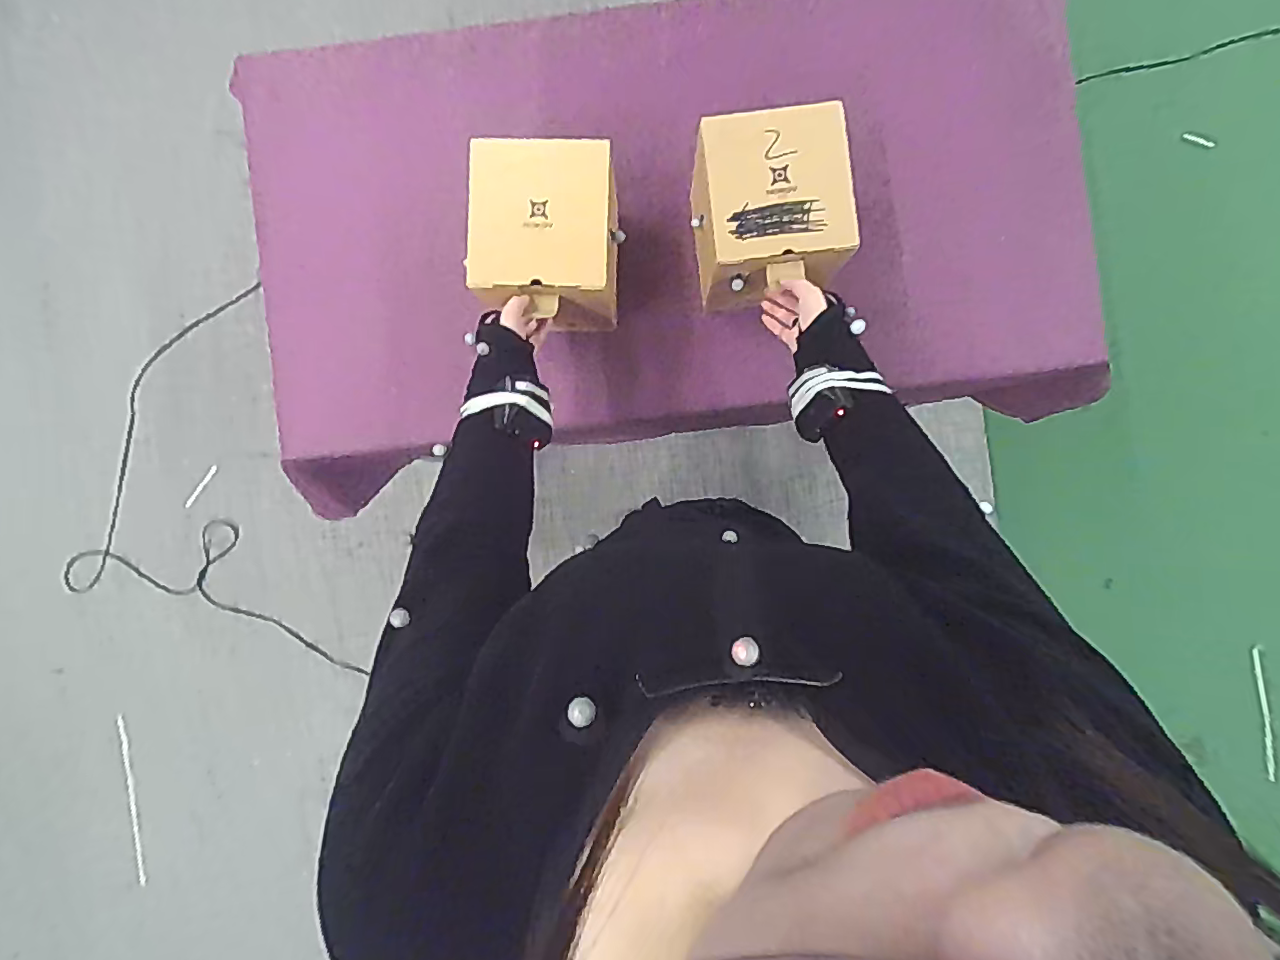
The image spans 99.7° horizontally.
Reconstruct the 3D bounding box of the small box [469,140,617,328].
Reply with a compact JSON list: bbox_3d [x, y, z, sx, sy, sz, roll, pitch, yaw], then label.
[{"bbox_3d":[-0.119,-0.316,0.724,0.168,0.176,0.179,2,90,1],"label":"small box"}]
